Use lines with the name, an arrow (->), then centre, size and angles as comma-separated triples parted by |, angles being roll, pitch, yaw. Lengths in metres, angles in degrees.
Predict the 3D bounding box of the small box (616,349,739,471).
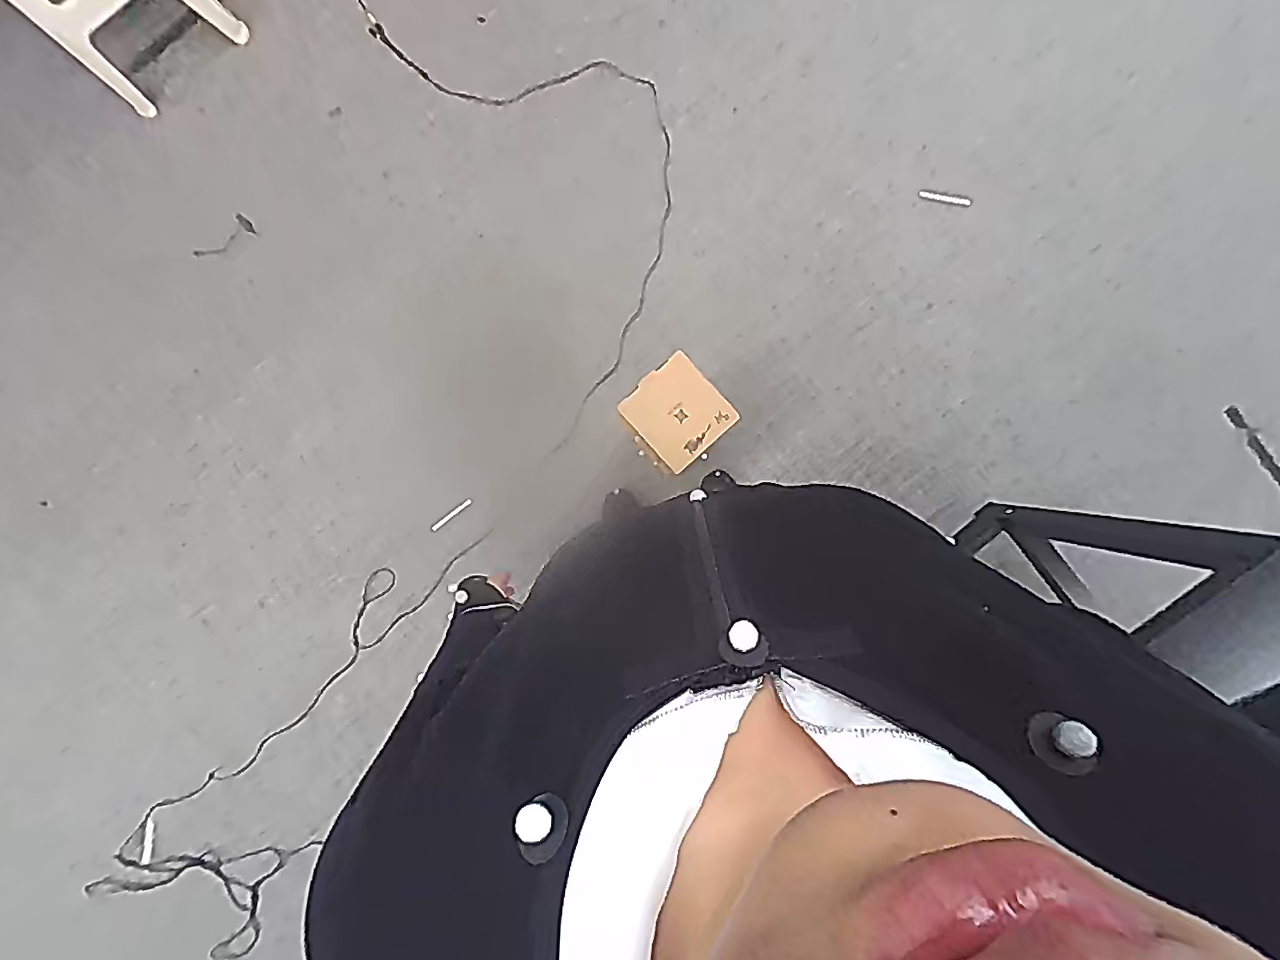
small box -> 0.071, -0.131, 1.093 | 0.168, 0.176, 0.179 | -42, 90, 2
